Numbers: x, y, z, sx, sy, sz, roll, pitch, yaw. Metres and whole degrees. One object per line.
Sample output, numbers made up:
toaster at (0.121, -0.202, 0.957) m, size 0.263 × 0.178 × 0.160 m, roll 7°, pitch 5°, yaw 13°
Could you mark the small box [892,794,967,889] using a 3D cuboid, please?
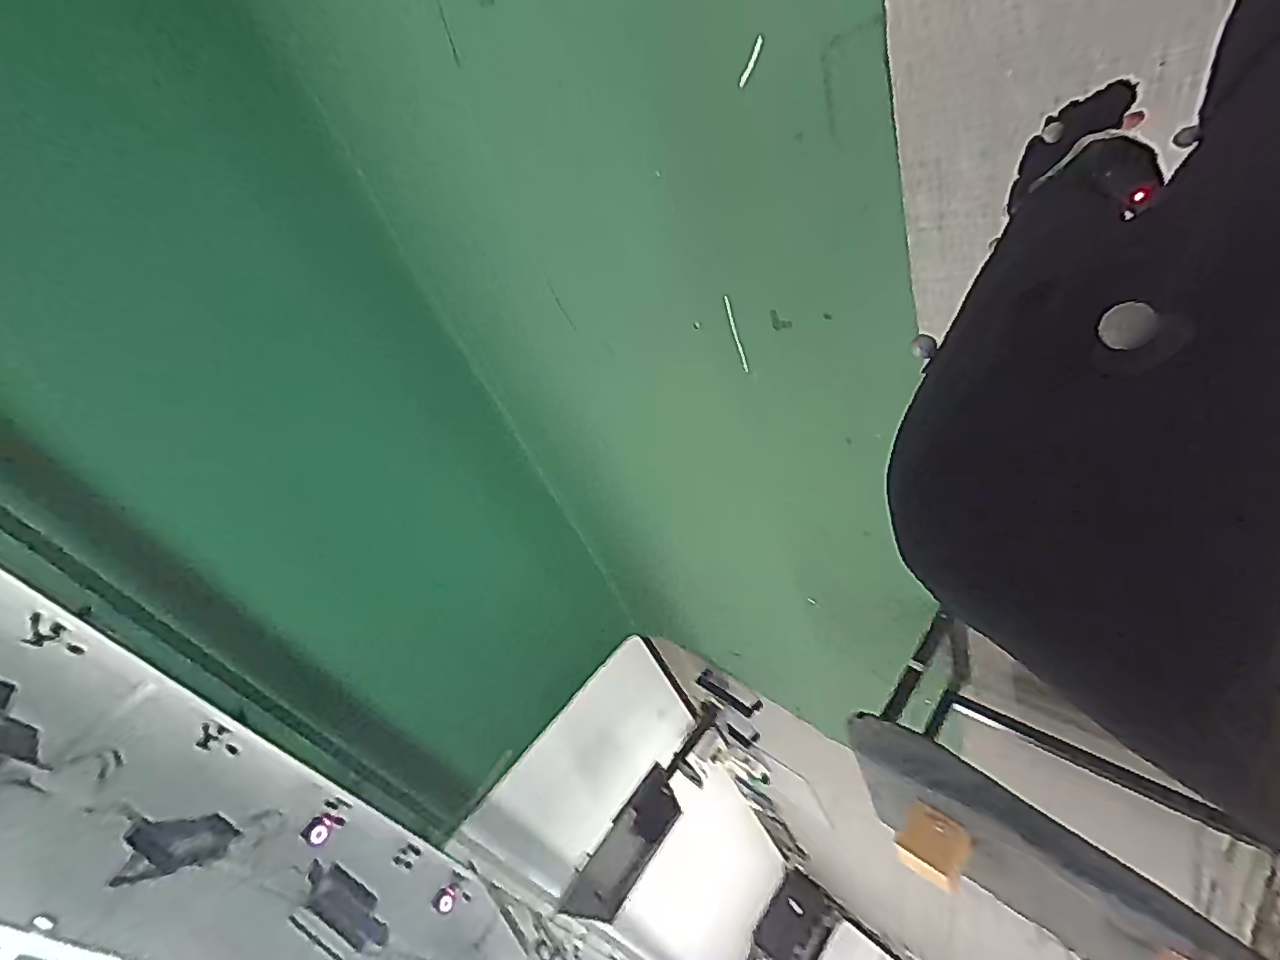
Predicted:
small box at (0.956, 1.182, 1.777) m, size 0.168 × 0.176 × 0.179 m, roll 15°, pitch 141°, yaw 46°
